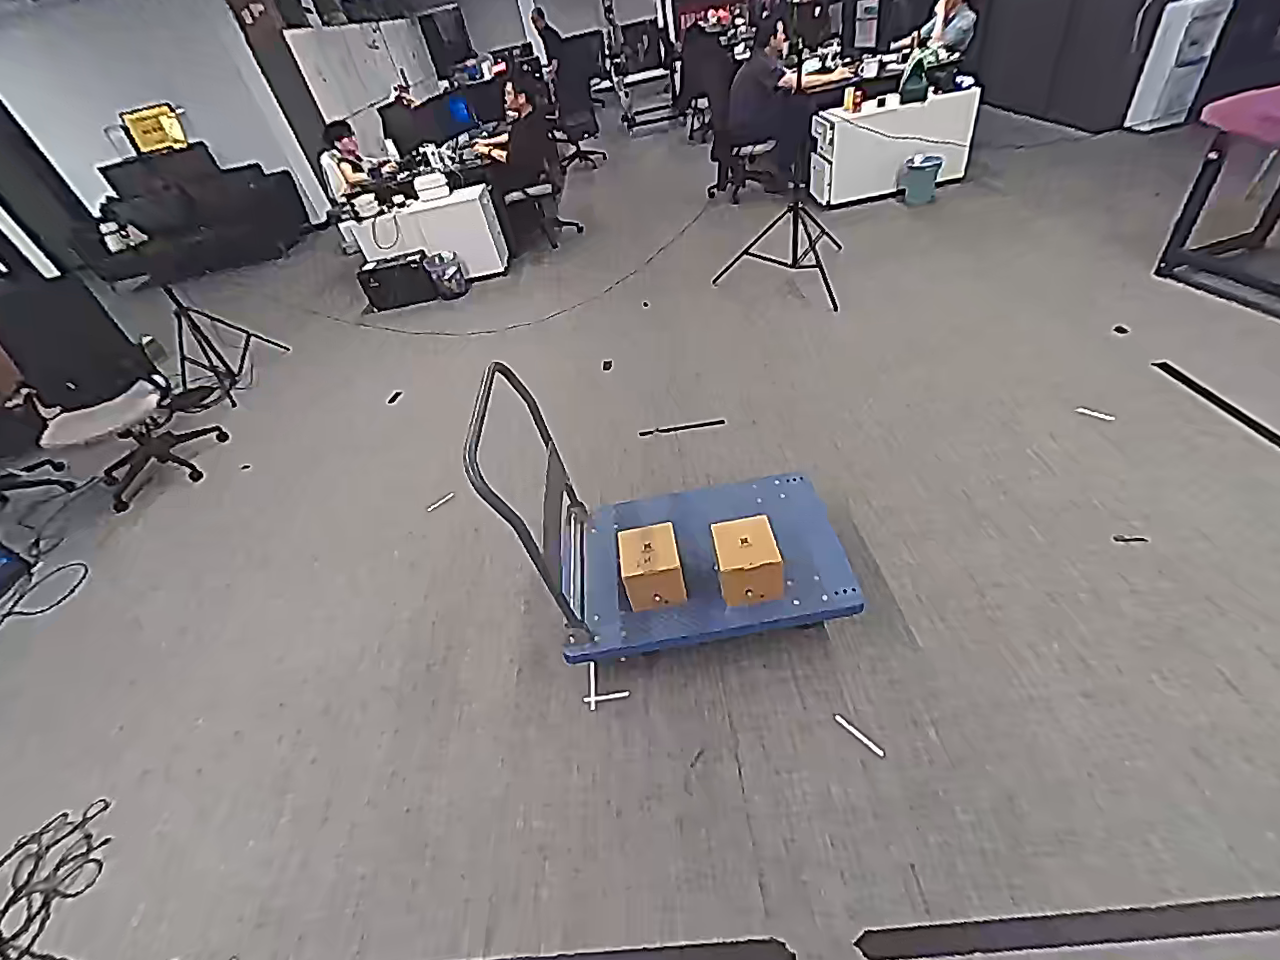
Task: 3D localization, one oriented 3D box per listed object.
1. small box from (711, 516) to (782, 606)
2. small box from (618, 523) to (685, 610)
[{"bbox_3d":[0.304,0.234,1.554,0.168,0.176,0.179,-11,42,3],"label":"small box"},{"bbox_3d":[0.034,0.257,1.599,0.168,0.176,0.179,-12,42,3],"label":"small box"}]
